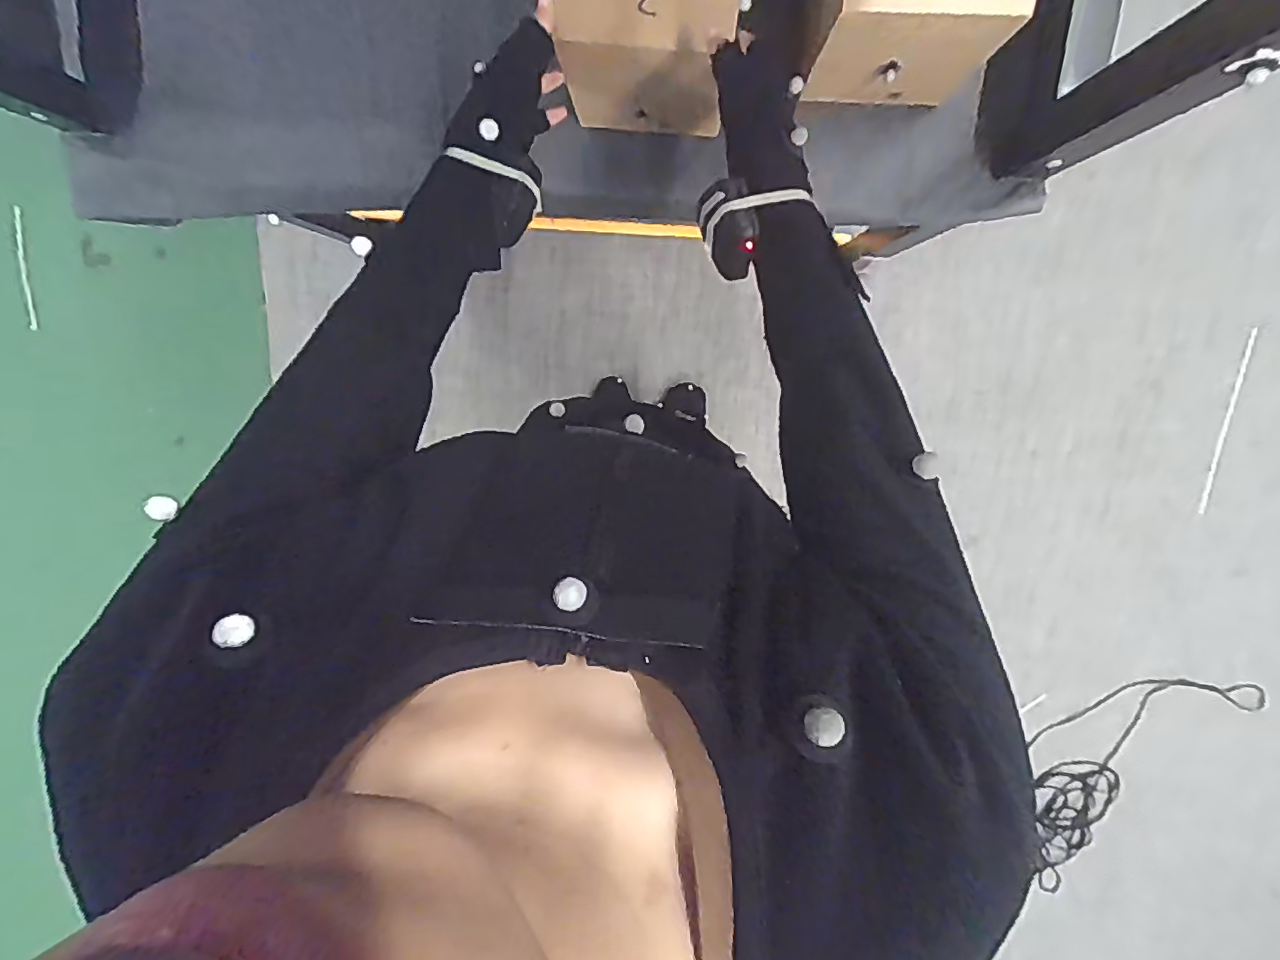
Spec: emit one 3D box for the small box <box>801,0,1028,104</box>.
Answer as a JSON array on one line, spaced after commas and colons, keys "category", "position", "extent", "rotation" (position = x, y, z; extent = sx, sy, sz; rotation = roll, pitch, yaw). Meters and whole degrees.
[{"category": "small box", "position": [0.266, -0.506, 0.537], "extent": [0.168, 0.176, 0.179], "rotation": [3, 102, 2]}]
